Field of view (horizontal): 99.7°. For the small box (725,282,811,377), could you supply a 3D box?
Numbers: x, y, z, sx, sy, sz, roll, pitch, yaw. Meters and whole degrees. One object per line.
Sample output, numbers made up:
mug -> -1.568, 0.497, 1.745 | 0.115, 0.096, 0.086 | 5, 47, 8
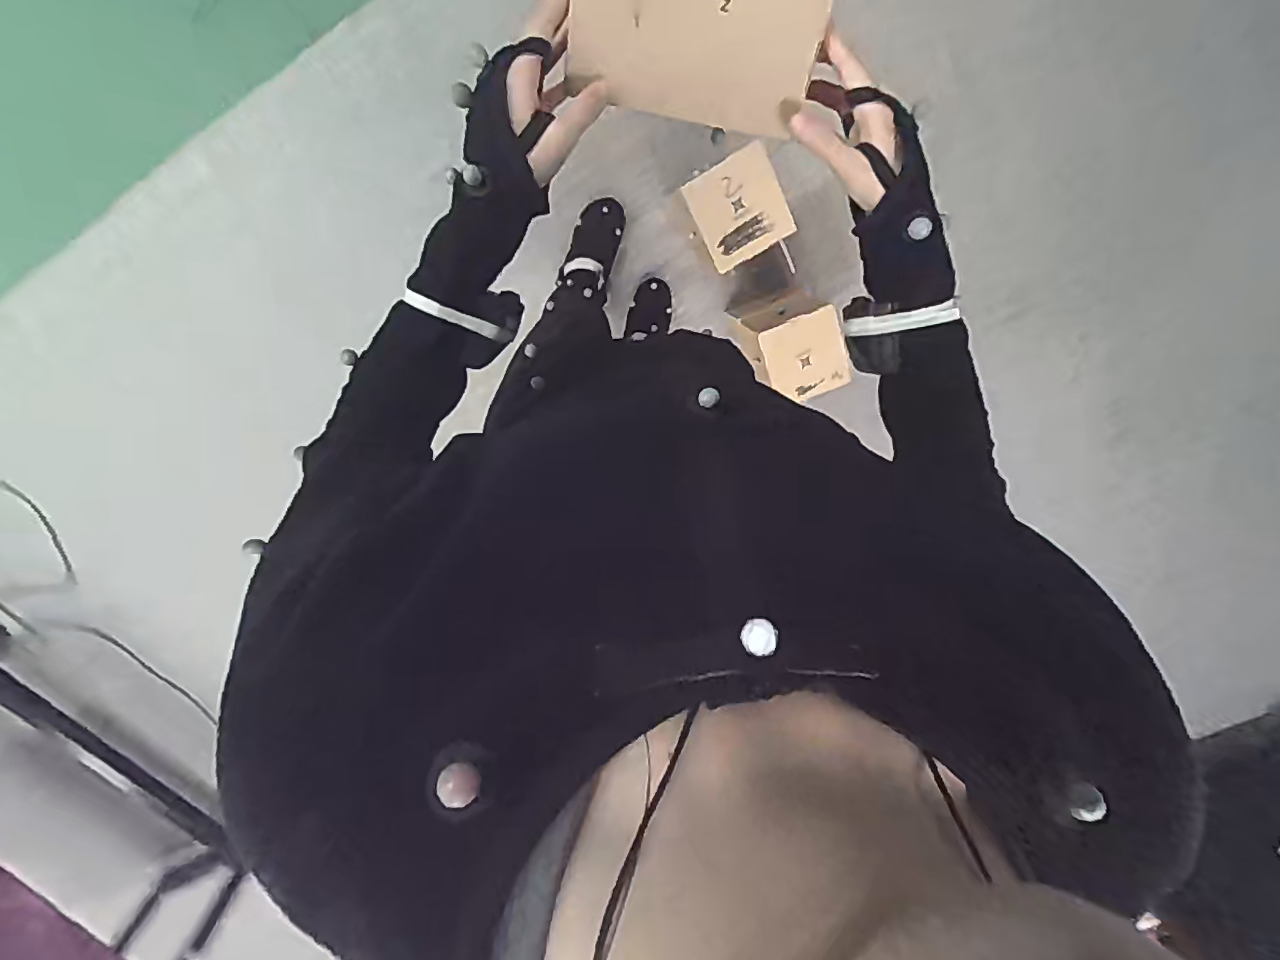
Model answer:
small box -> 0.325, -0.377, 1.335 | 0.179, 0.176, 0.168 | -20, 112, 6

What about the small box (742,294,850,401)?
small box -> 0.335, -0.298, 1.191 | 0.168, 0.176, 0.179 | -20, 112, 6
